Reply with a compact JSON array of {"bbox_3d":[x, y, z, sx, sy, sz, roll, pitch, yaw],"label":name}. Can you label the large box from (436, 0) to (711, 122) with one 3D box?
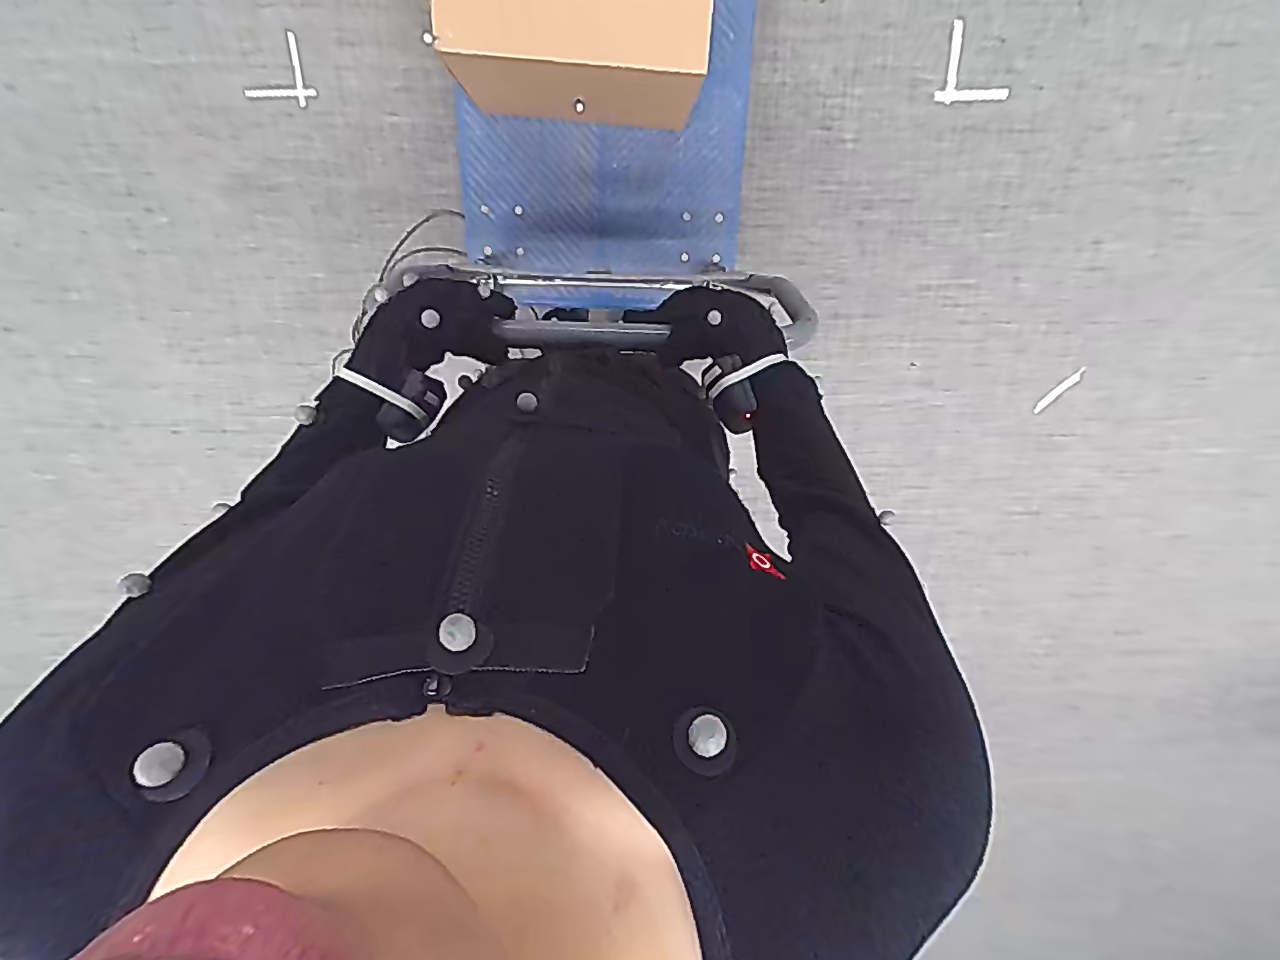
[{"bbox_3d":[-0.094,-0.817,0.894,0.408,0.320,0.320,3,109,-2],"label":"large box"}]
